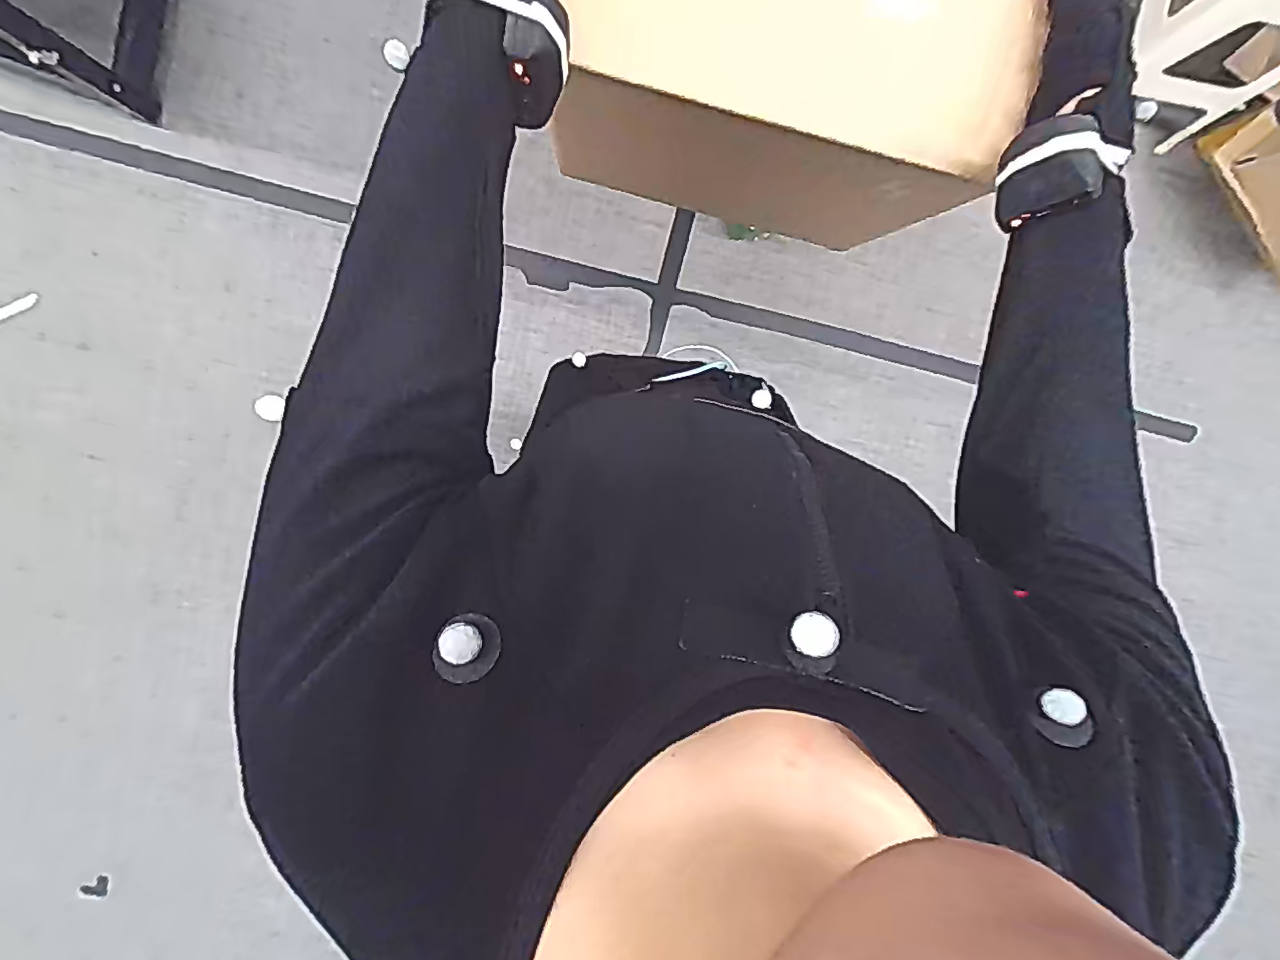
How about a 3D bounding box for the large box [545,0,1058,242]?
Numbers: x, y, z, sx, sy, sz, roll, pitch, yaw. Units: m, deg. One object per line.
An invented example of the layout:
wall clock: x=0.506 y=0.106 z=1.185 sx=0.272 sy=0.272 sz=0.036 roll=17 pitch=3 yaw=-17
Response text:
large box: x=0.135 y=-0.475 z=0.554 sx=0.408 sy=0.320 sz=0.320 roll=12 pitch=104 yaw=-8
